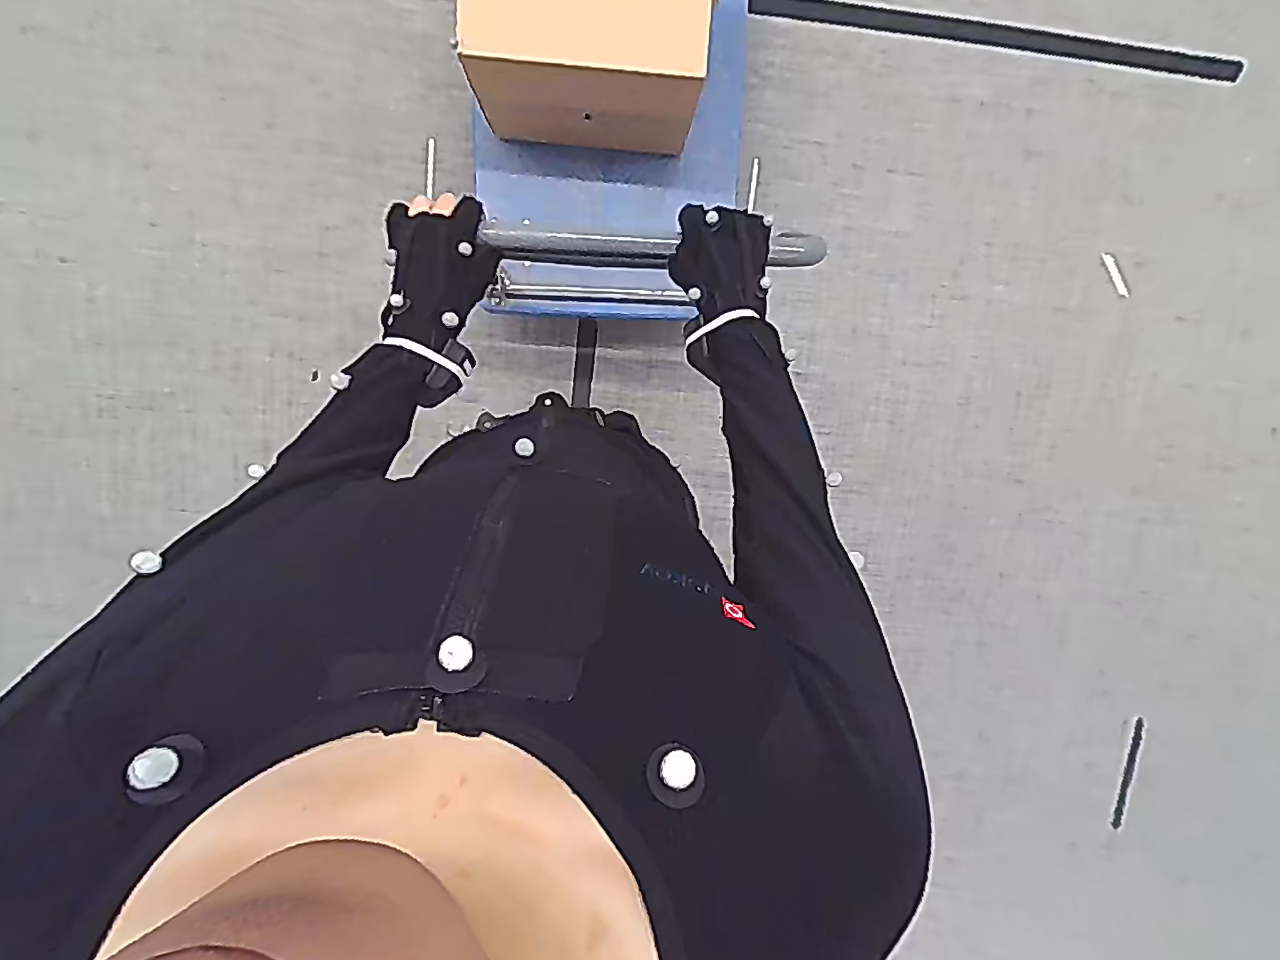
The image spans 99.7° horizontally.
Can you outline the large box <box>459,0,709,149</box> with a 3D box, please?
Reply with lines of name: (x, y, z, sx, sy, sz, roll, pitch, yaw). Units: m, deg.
large box: (-0.090, -0.847, 0.998, 0.408, 0.320, 0.320, 3, 100, -3)
